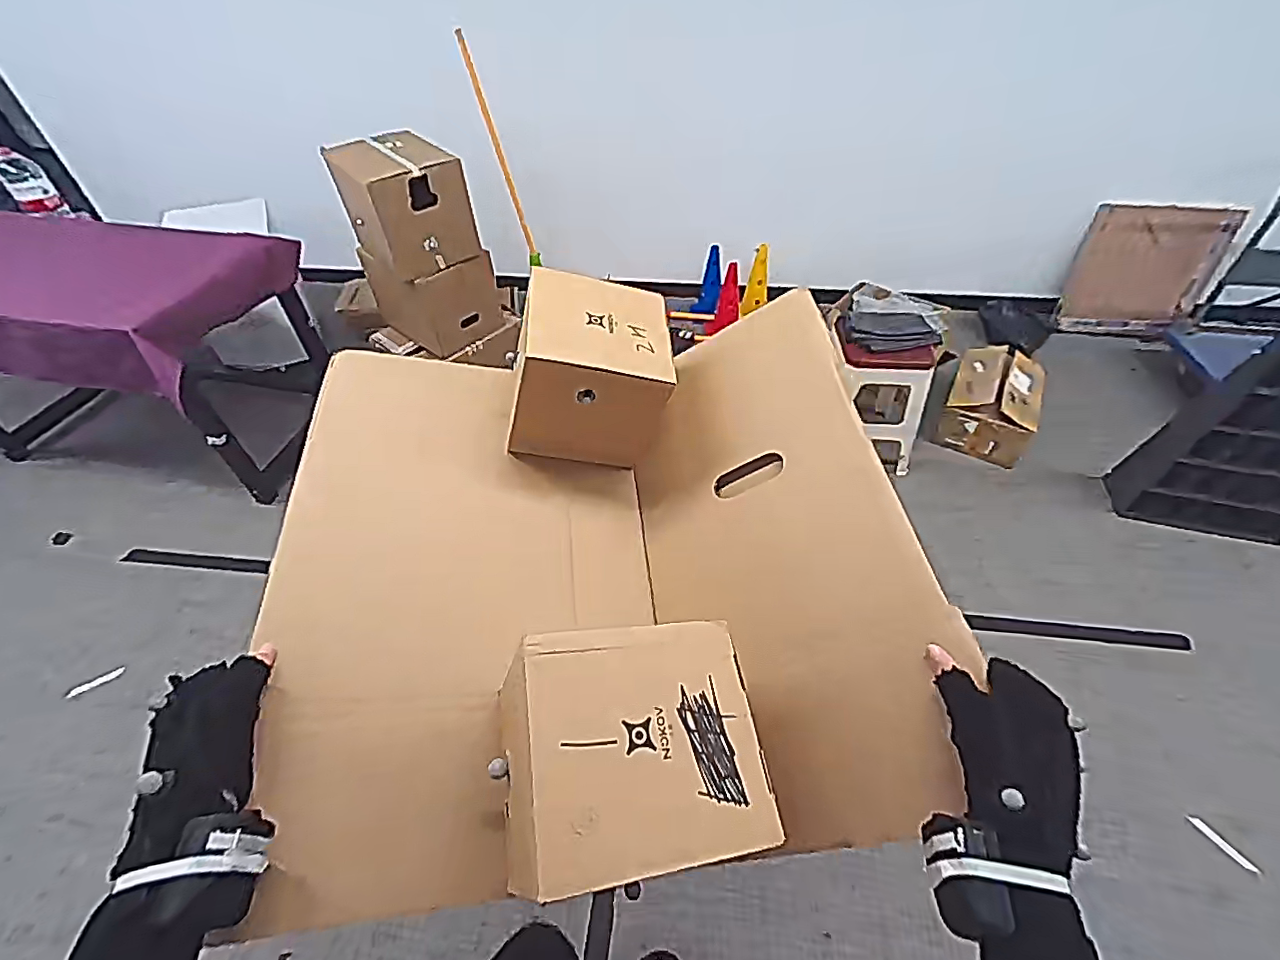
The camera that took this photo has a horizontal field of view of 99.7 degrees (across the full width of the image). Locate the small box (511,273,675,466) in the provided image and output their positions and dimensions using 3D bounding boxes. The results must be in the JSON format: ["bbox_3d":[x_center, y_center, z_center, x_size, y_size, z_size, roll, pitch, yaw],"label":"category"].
[{"bbox_3d":[-0.069,-0.135,0.709,0.179,0.176,0.168,8,53,-16],"label":"small box"}]
